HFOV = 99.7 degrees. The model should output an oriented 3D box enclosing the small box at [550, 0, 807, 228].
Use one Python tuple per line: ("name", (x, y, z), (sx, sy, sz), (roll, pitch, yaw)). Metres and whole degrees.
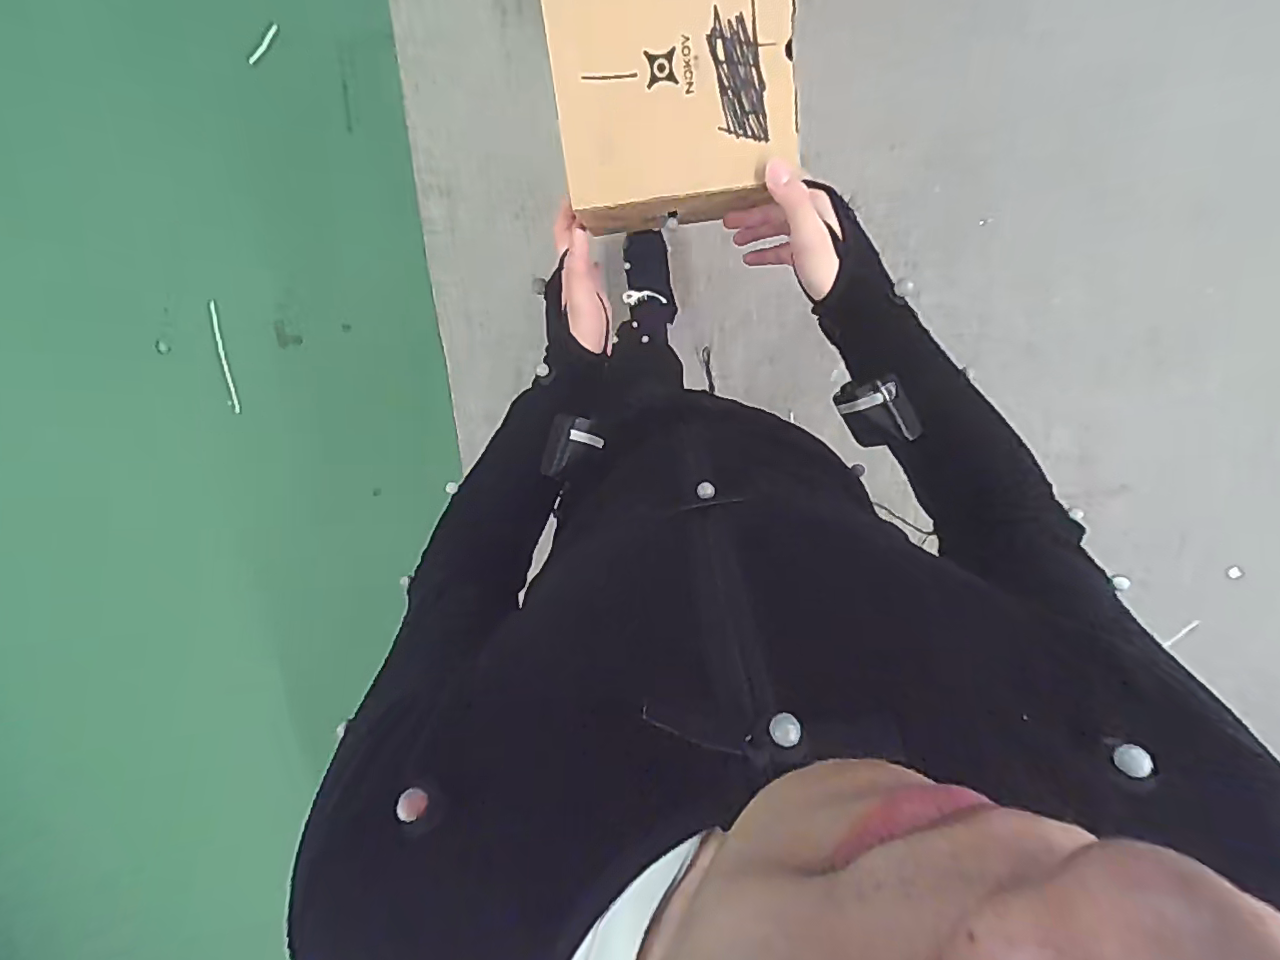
("small box", (0.030, -0.318, 0.456), (0.179, 0.176, 0.168), (-5, 109, 4))
